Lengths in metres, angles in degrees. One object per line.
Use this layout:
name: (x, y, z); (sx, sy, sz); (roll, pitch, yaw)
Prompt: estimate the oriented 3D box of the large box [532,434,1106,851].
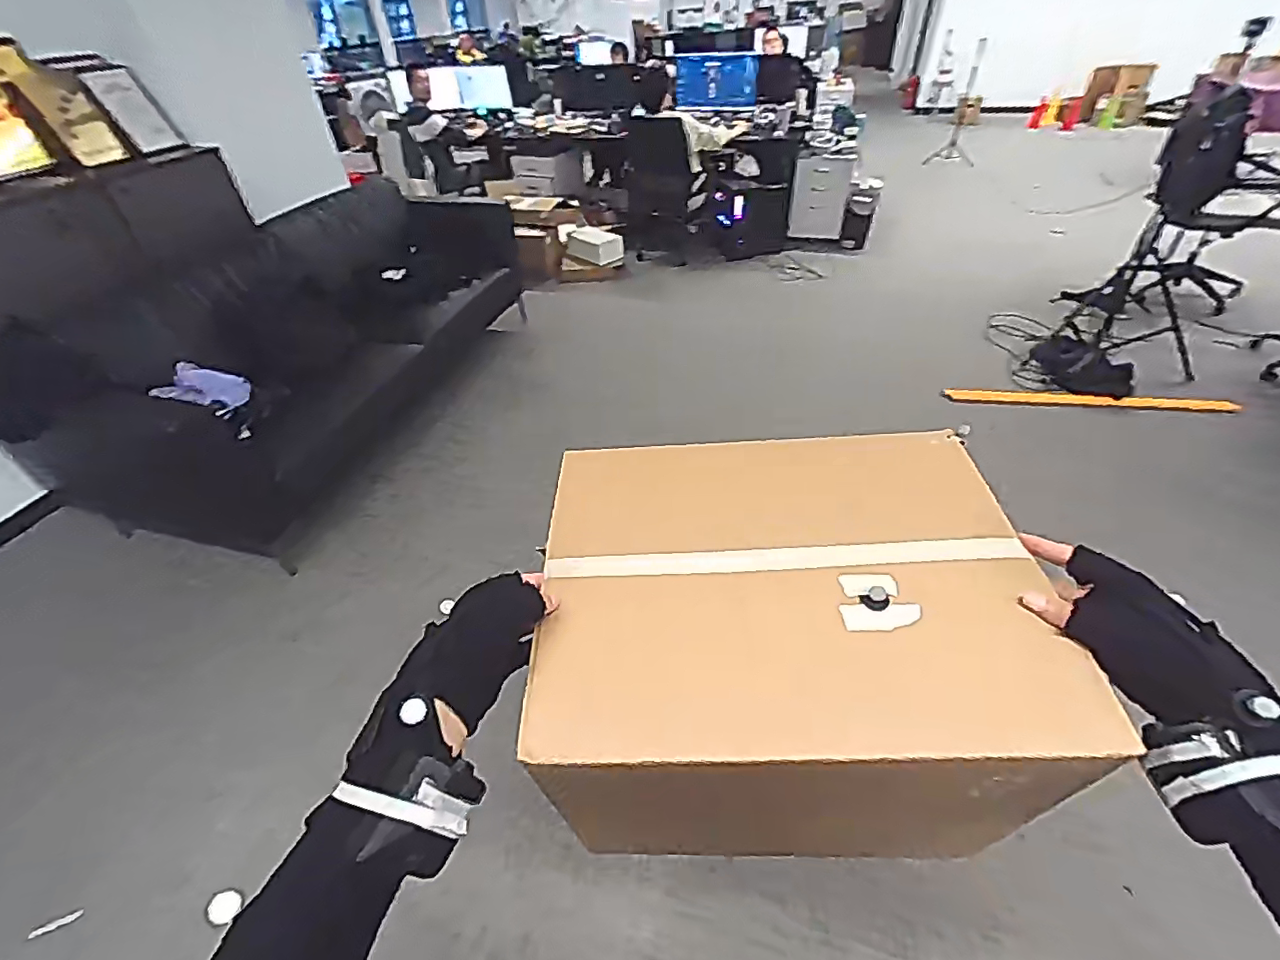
large box: (0.129, 0.178, 0.580); (0.408, 0.320, 0.320); (-4, 46, 4)
